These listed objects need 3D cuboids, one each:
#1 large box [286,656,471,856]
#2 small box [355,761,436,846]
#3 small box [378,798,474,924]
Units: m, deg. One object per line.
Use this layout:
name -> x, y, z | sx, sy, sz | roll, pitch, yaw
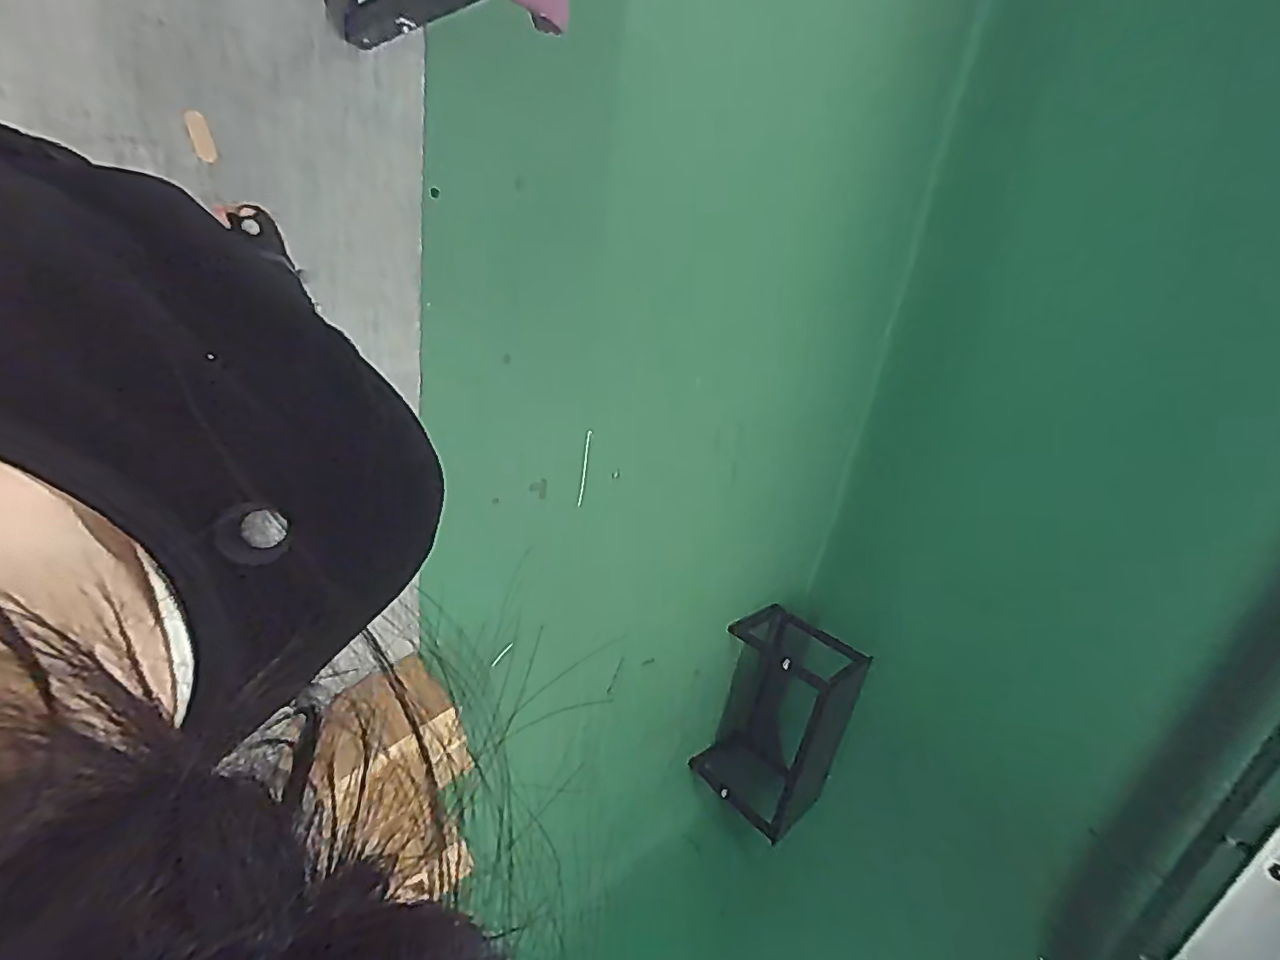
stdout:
large box -> -0.818, 0.852, 1.721 | 0.408, 0.320, 0.320 | -28, 129, -37
small box -> -0.681, 0.938, 1.534 | 0.168, 0.176, 0.179 | -25, 127, -36
small box -> -0.570, 0.997, 1.428 | 0.179, 0.176, 0.168 | -27, 128, -36
